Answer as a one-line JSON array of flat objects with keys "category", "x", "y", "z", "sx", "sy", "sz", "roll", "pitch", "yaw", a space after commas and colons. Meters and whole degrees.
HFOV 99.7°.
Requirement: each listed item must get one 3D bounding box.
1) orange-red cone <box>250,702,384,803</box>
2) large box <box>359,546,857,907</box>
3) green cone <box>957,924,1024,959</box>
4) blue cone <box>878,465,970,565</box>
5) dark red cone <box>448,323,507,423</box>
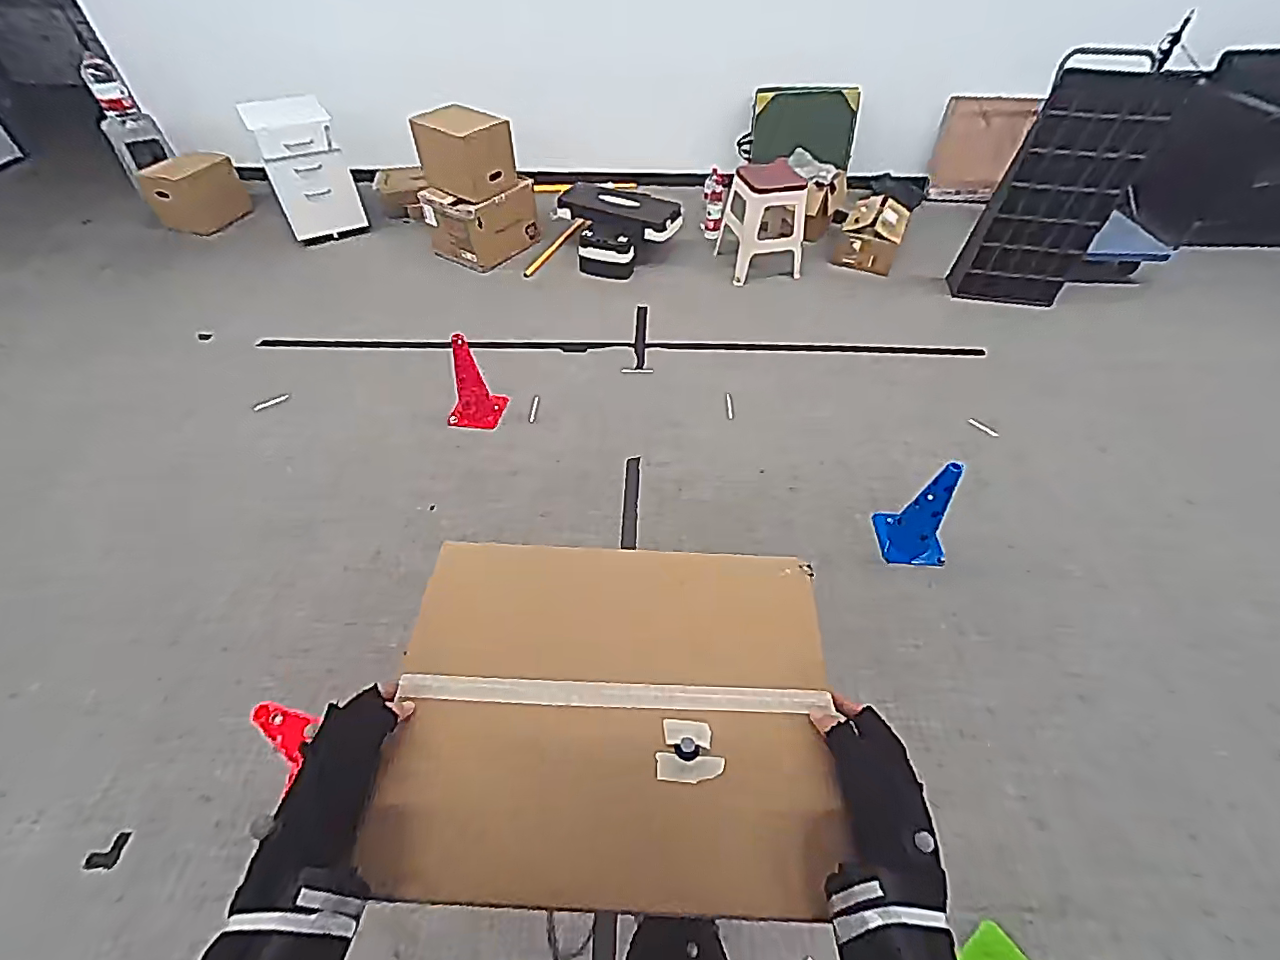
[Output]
[{"category": "orange-red cone", "x": -0.753, "y": 0.576, "z": 1.207, "sx": 0.198, "sy": 0.360, "sz": 0.199, "roll": -1, "pitch": 50, "yaw": 0}, {"category": "large box", "x": -0.026, "y": 0.295, "z": 0.631, "sx": 0.408, "sy": 0.320, "sz": 0.320, "roll": 3, "pitch": 52, "yaw": 0}, {"category": "green cone", "x": 0.720, "y": 0.916, "z": 0.924, "sx": 0.202, "sy": 0.368, "sz": 0.200, "roll": -27, "pitch": 55, "yaw": -25}, {"category": "blue cone", "x": 0.905, "y": 0.092, "z": 1.677, "sx": 0.192, "sy": 0.380, "sz": 0.193, "roll": 5, "pitch": 49, "yaw": 2}, {"category": "dark red cone", "x": -0.644, "y": -0.411, "z": 2.047, "sx": 0.201, "sy": 0.394, "sz": 0.202, "roll": 7, "pitch": 49, "yaw": 4}]
